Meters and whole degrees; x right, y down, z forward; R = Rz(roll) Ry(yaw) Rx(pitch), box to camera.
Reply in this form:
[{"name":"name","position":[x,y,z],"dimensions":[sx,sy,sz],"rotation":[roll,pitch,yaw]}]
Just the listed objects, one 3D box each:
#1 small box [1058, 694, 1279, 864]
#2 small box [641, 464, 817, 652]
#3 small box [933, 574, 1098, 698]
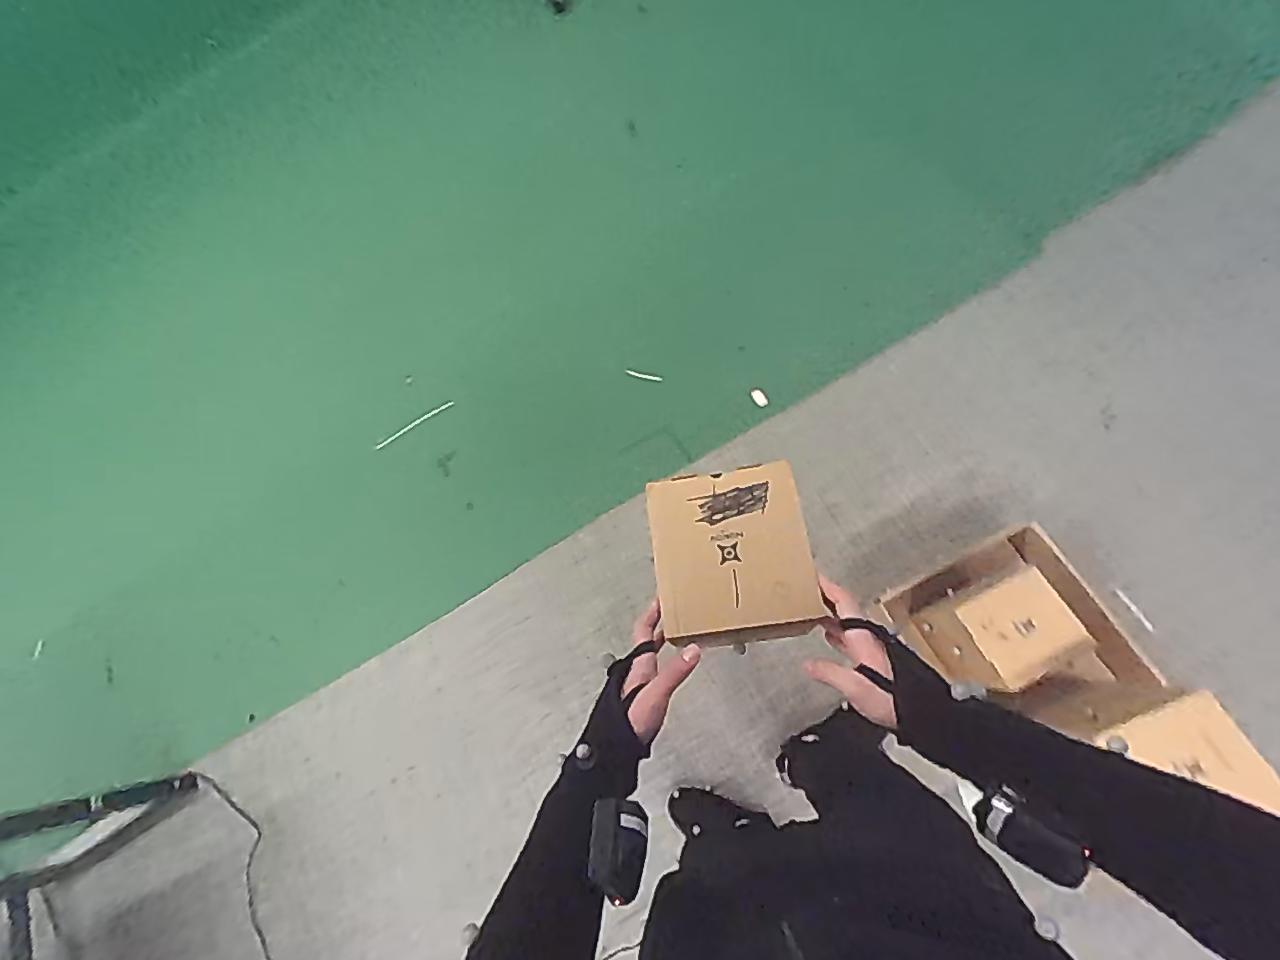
[{"name":"small box","position":[0.795,0.445,0.832],"dimensions":[0.179,0.176,0.168],"rotation":[-26,68,5]},{"name":"small box","position":[0.100,0.102,0.647],"dimensions":[0.168,0.176,0.179],"rotation":[-9,67,7]},{"name":"small box","position":[0.720,0.303,1.063],"dimensions":[0.179,0.176,0.168],"rotation":[-29,70,3]}]
